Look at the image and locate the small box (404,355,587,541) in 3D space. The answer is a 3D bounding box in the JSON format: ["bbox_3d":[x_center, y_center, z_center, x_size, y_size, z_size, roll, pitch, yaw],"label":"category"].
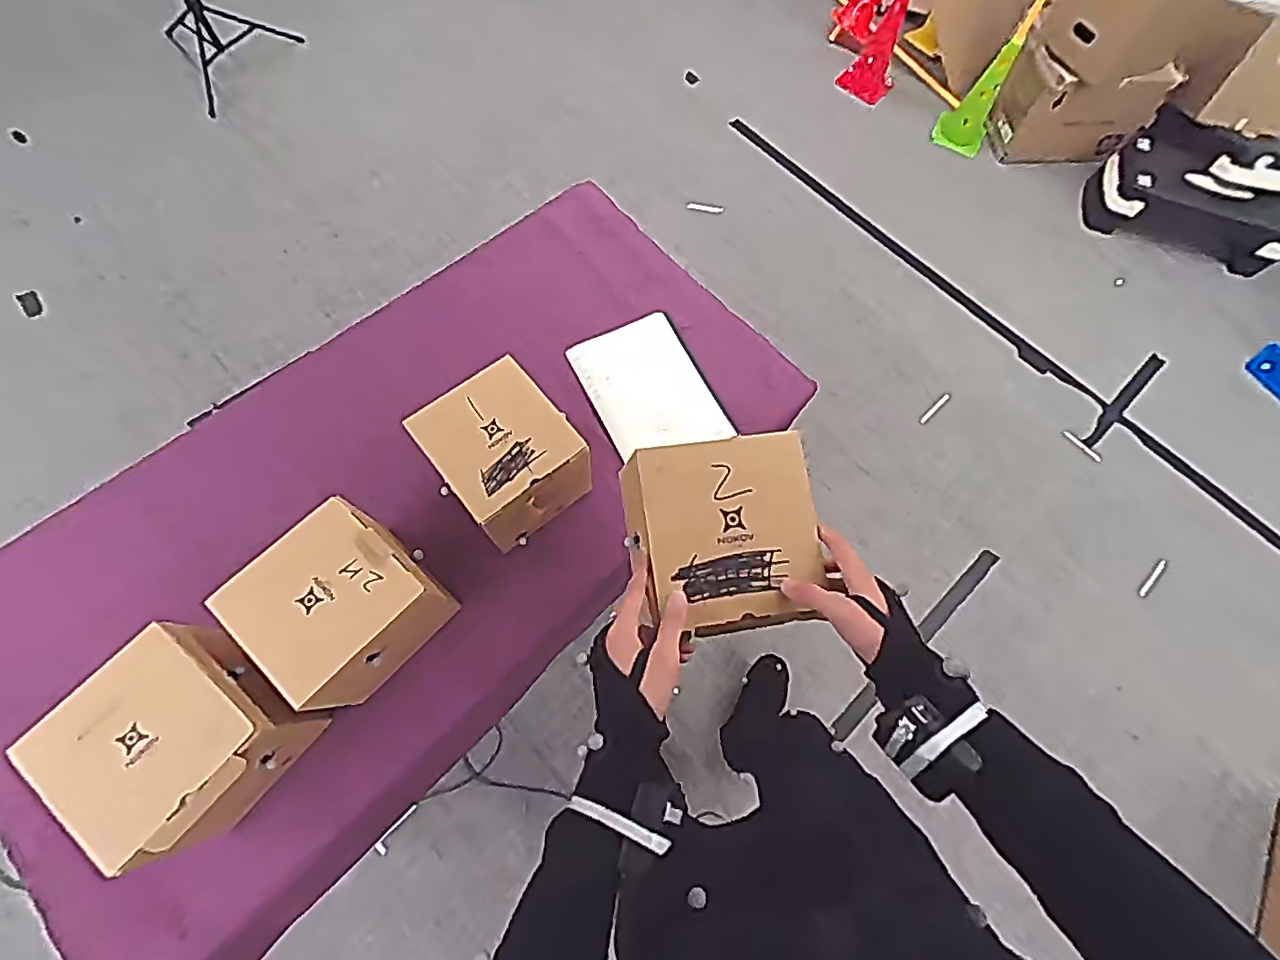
[{"bbox_3d":[-0.187,-0.032,0.757,0.168,0.176,0.179,-38,76,-15],"label":"small box"}]

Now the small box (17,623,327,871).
[{"bbox_3d":[-0.509,0.288,0.622,0.179,0.176,0.168,38,71,10],"label":"small box"}]
